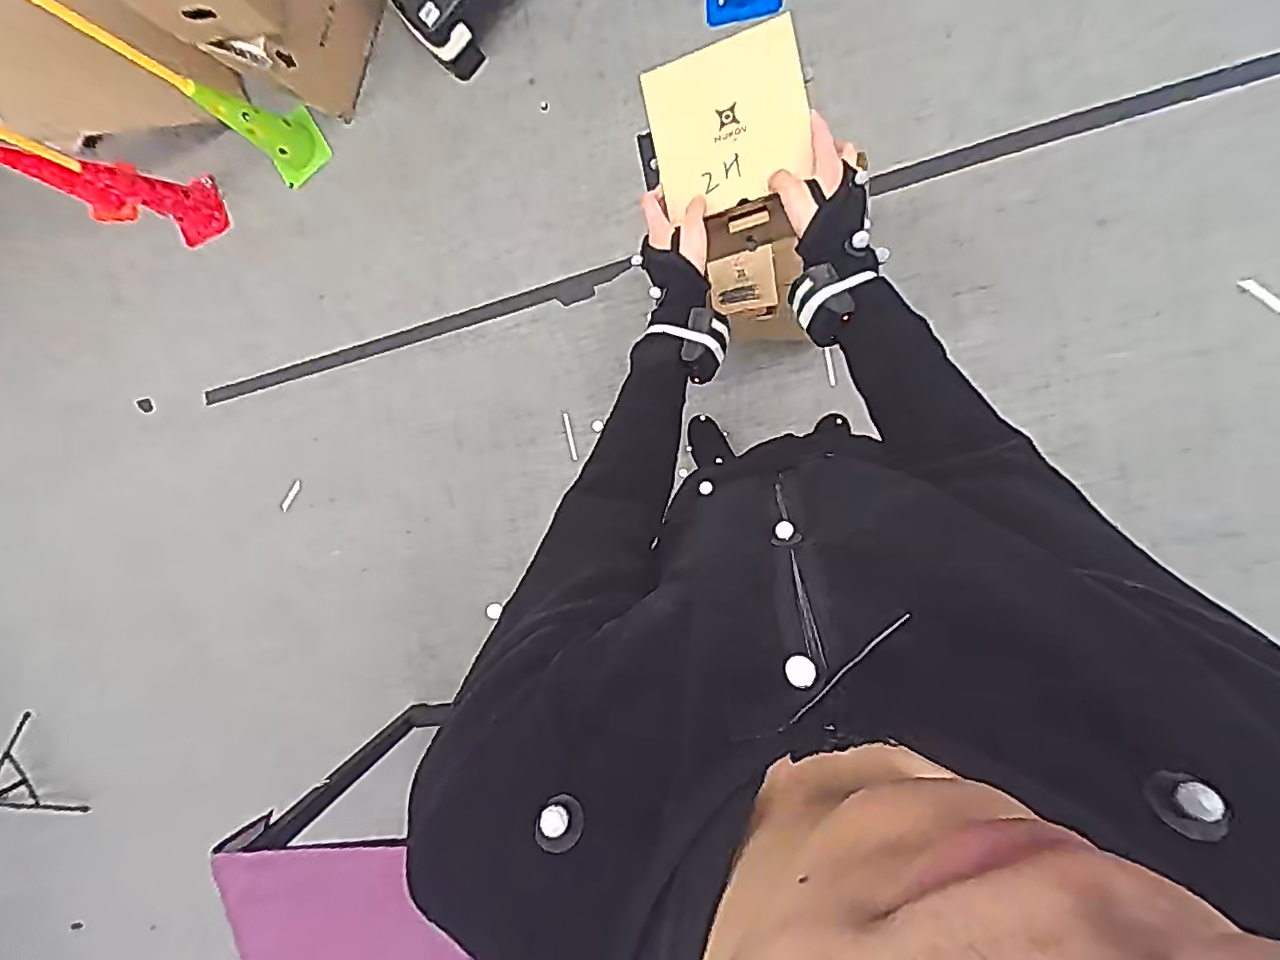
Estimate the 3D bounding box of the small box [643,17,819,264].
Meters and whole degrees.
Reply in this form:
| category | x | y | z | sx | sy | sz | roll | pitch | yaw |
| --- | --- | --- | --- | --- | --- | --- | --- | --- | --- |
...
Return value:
| category | x | y | z | sx | sy | sz | roll | pitch | yaw |
| --- | --- | --- | --- | --- | --- | --- | --- | --- | --- |
| small box | 0.116 | -0.391 | 0.662 | 0.168 | 0.176 | 0.179 | -11 | 95 | 17 |
